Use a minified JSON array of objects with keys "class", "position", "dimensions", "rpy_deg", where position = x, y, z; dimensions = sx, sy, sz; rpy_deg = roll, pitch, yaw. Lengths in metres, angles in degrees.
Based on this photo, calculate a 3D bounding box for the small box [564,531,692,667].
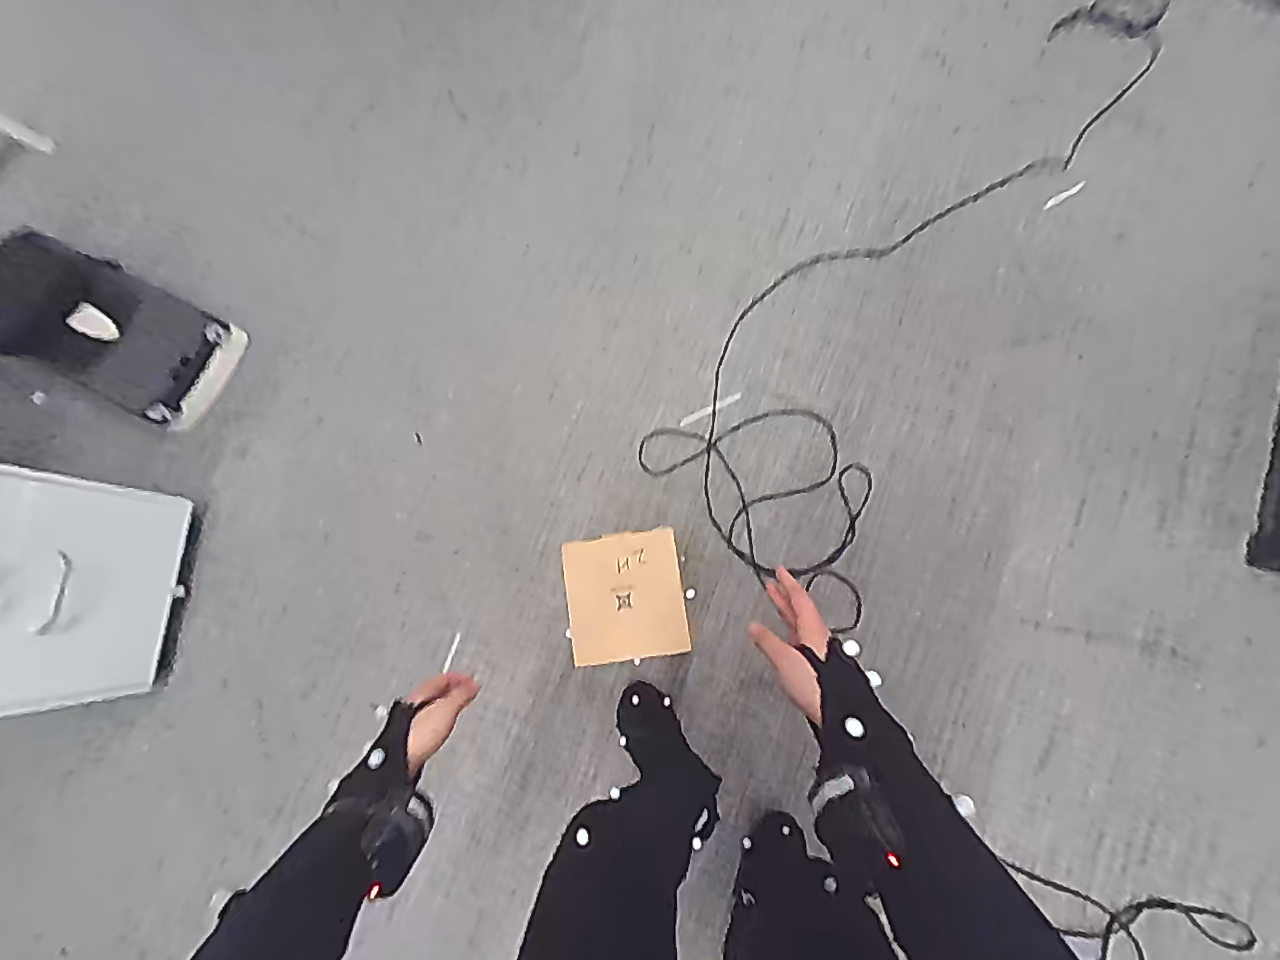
[{"class":"small box","position":[-0.012,0.184,0.849],"dimensions":[0.168,0.176,0.179],"rpy_deg":[-9,77,4]}]
